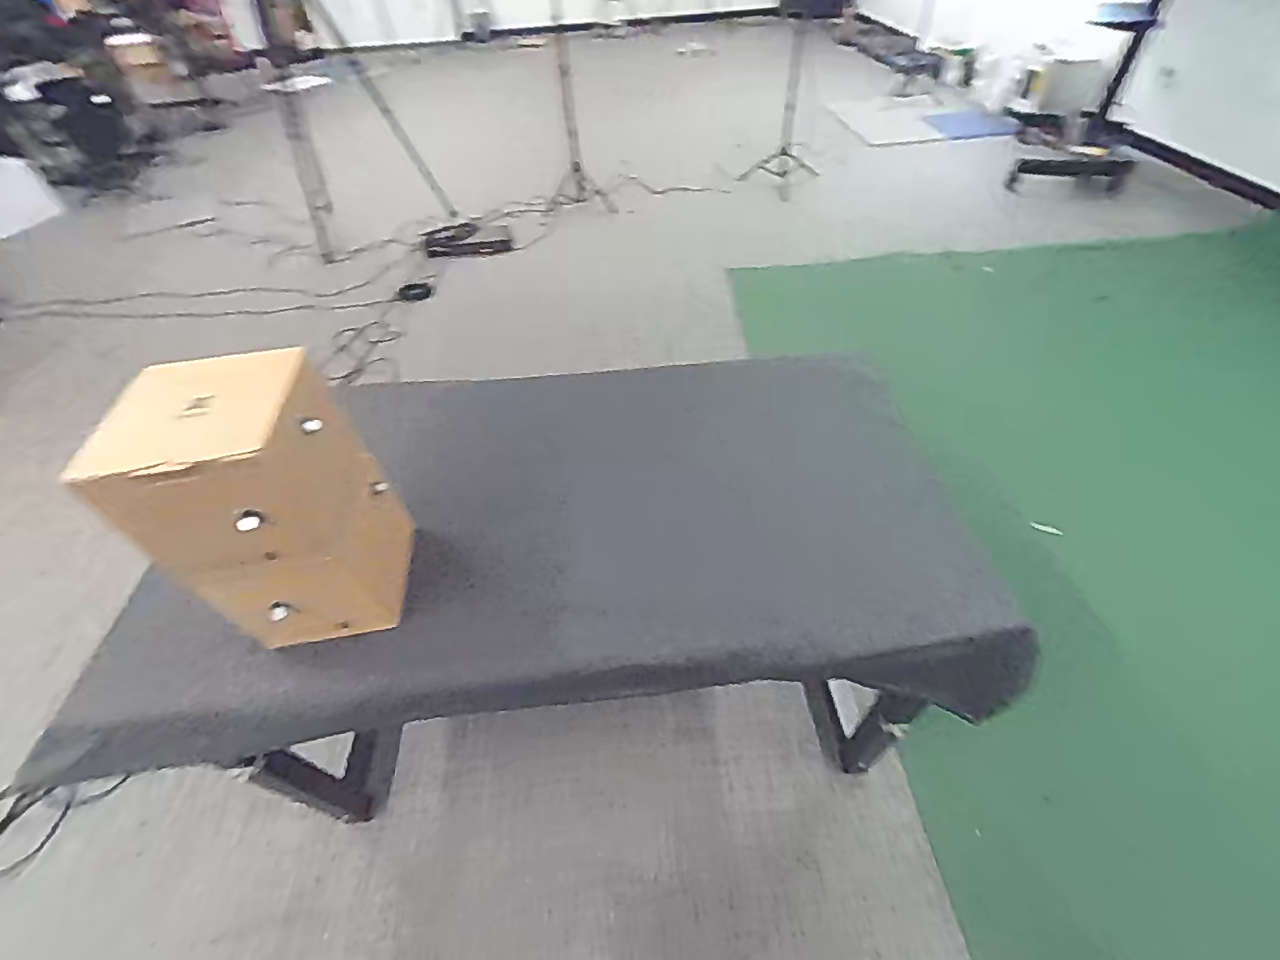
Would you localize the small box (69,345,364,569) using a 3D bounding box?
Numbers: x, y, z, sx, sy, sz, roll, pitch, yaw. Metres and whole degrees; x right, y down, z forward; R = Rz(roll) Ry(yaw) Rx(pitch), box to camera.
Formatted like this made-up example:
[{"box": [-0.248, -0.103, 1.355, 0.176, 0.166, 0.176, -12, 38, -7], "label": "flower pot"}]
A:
[{"box": [-0.423, -0.020, 0.585, 0.168, 0.176, 0.179, -8, 46, -6], "label": "small box"}]

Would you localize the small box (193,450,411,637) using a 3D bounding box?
[{"box": [-0.416, 0.089, 0.706, 0.168, 0.176, 0.179, -8, 47, -5], "label": "small box"}]
